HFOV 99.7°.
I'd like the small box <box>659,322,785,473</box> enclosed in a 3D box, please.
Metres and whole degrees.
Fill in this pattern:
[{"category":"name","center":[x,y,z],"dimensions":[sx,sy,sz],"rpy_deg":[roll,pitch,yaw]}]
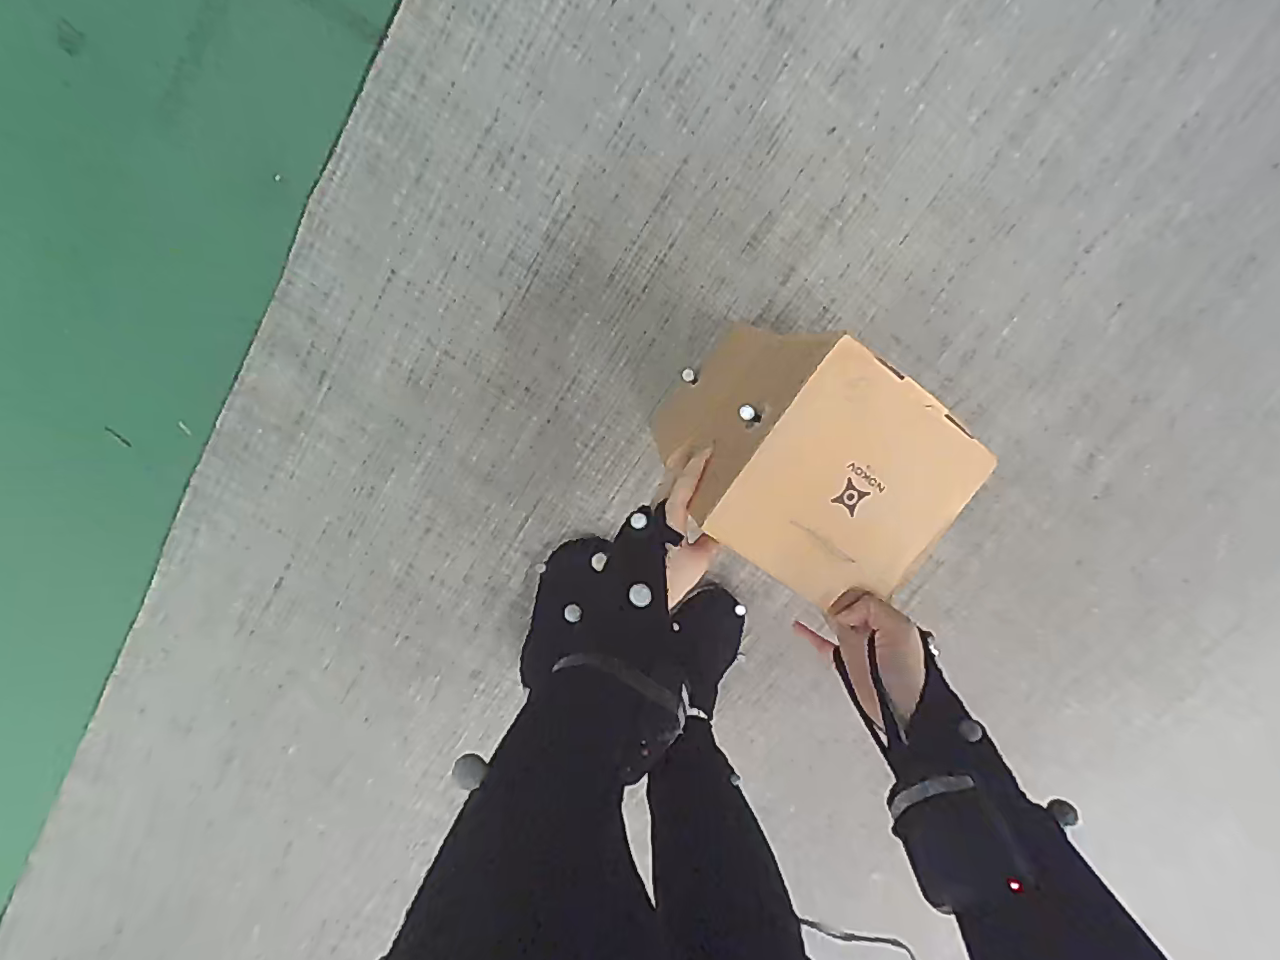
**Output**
[{"category":"small box","center":[0.135,-0.065,0.640],"dimensions":[0.168,0.176,0.179],"rpy_deg":[35,105,-15]}]

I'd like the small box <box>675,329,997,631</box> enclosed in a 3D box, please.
[{"category":"small box","center":[0.147,-0.011,0.476],"dimensions":[0.168,0.176,0.179],"rpy_deg":[33,98,-11]}]
